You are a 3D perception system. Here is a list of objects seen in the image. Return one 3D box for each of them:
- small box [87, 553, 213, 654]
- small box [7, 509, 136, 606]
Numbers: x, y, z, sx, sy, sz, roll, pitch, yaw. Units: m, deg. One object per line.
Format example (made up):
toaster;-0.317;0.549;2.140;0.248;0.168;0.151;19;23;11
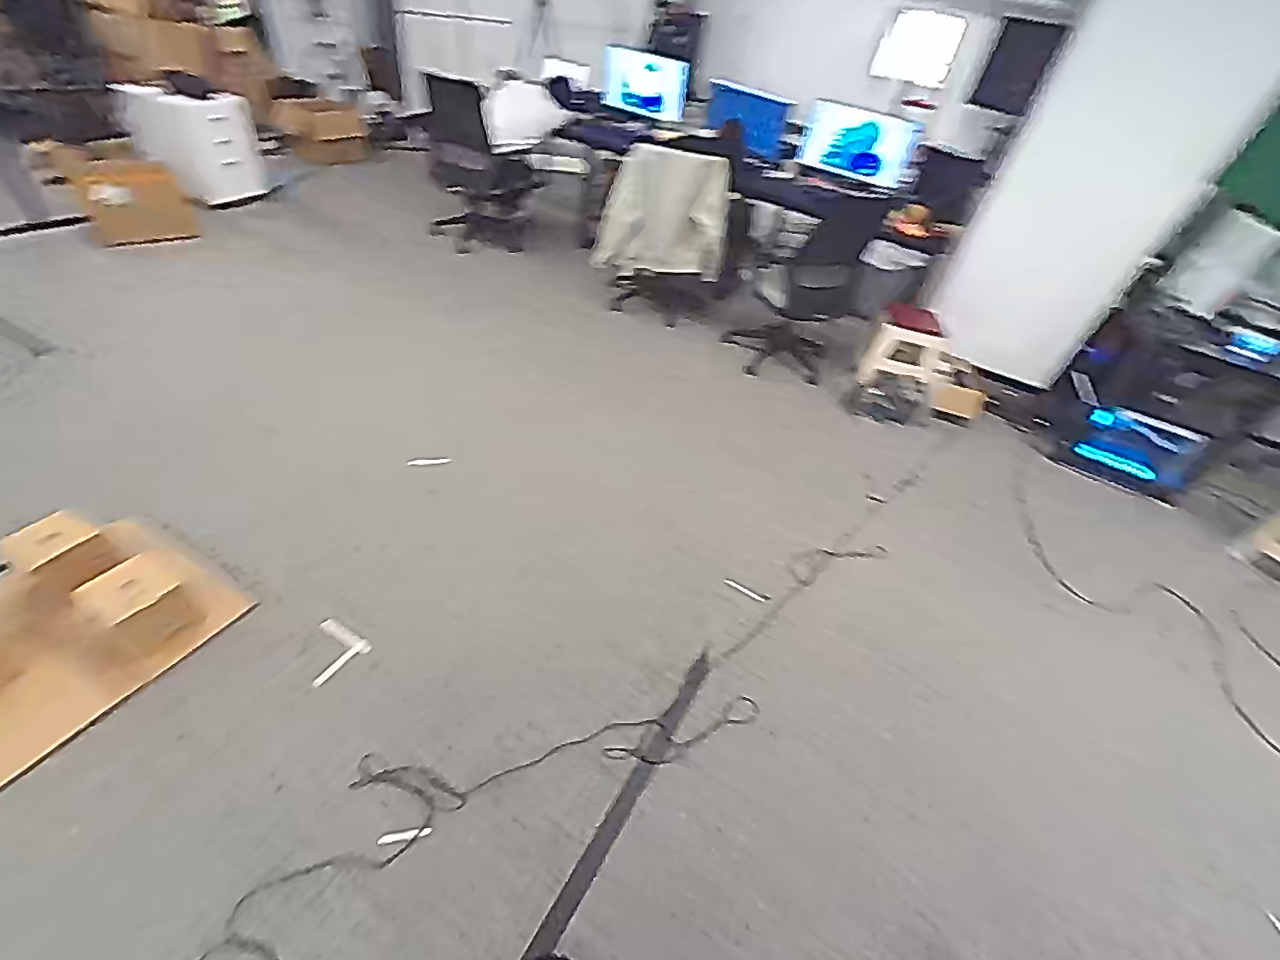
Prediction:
small box;-1.318;0.339;1.466;0.179;0.176;0.168;27;45;16
small box;-1.594;0.221;1.536;0.168;0.176;0.179;22;42;13
